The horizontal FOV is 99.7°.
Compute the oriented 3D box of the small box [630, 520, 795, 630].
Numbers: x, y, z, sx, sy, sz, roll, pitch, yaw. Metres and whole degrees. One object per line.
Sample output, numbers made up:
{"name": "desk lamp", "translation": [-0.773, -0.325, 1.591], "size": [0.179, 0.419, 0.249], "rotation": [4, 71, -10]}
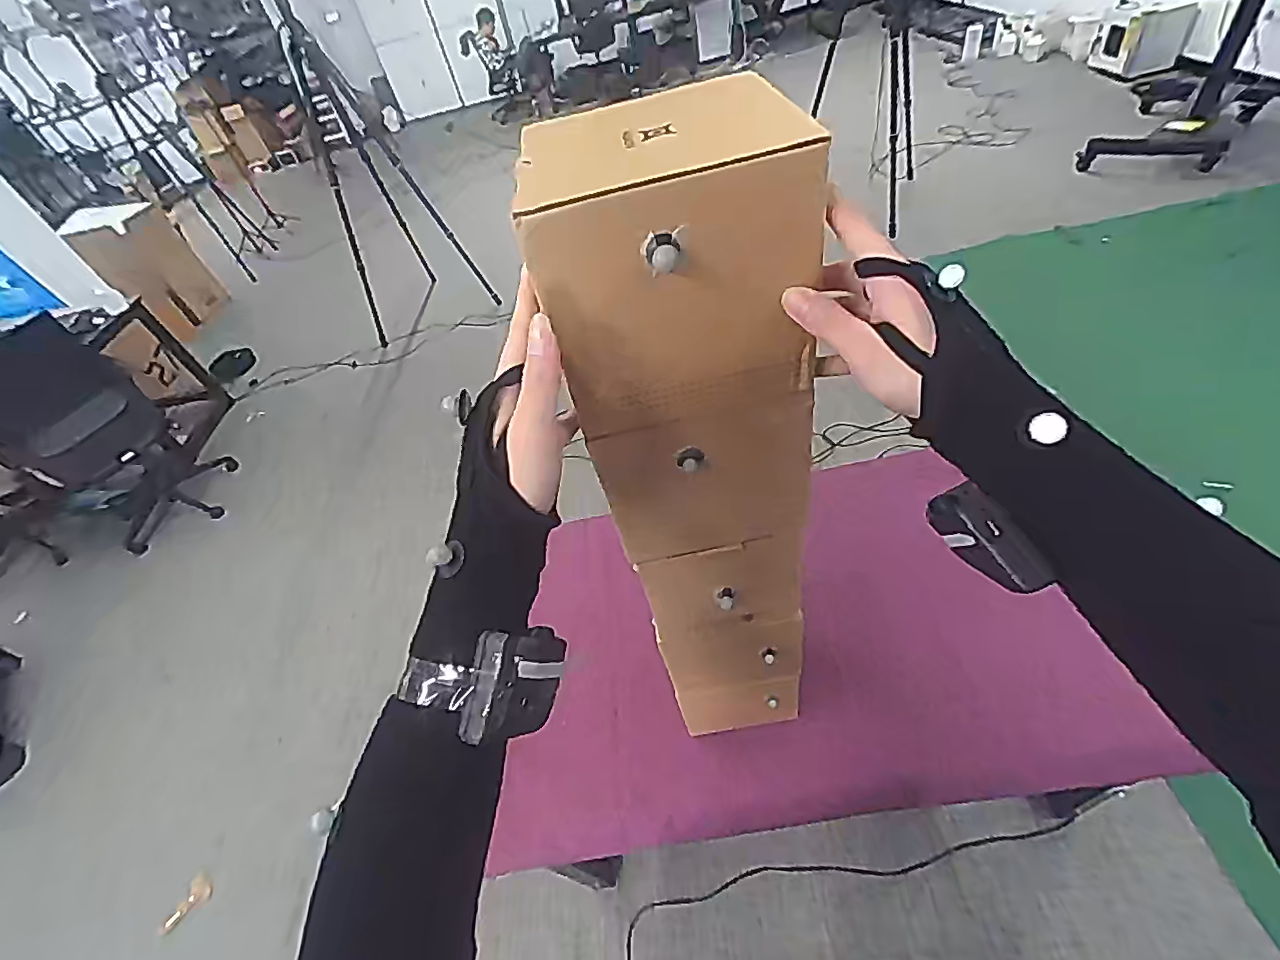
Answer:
{"name": "small box", "translation": [0.079, 0.059, 0.634], "size": [0.168, 0.176, 0.179], "rotation": [-12, 46, 4]}

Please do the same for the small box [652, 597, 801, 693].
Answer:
{"name": "small box", "translation": [0.112, 0.173, 0.746], "size": [0.179, 0.176, 0.168], "rotation": [-12, 45, 5]}

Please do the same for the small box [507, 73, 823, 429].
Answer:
{"name": "small box", "translation": [0.019, -0.162, 0.399], "size": [0.179, 0.176, 0.168], "rotation": [-13, 46, 4]}

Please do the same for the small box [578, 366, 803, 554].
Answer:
{"name": "small box", "translation": [0.046, -0.050, 0.514], "size": [0.179, 0.176, 0.168], "rotation": [-12, 45, 4]}
